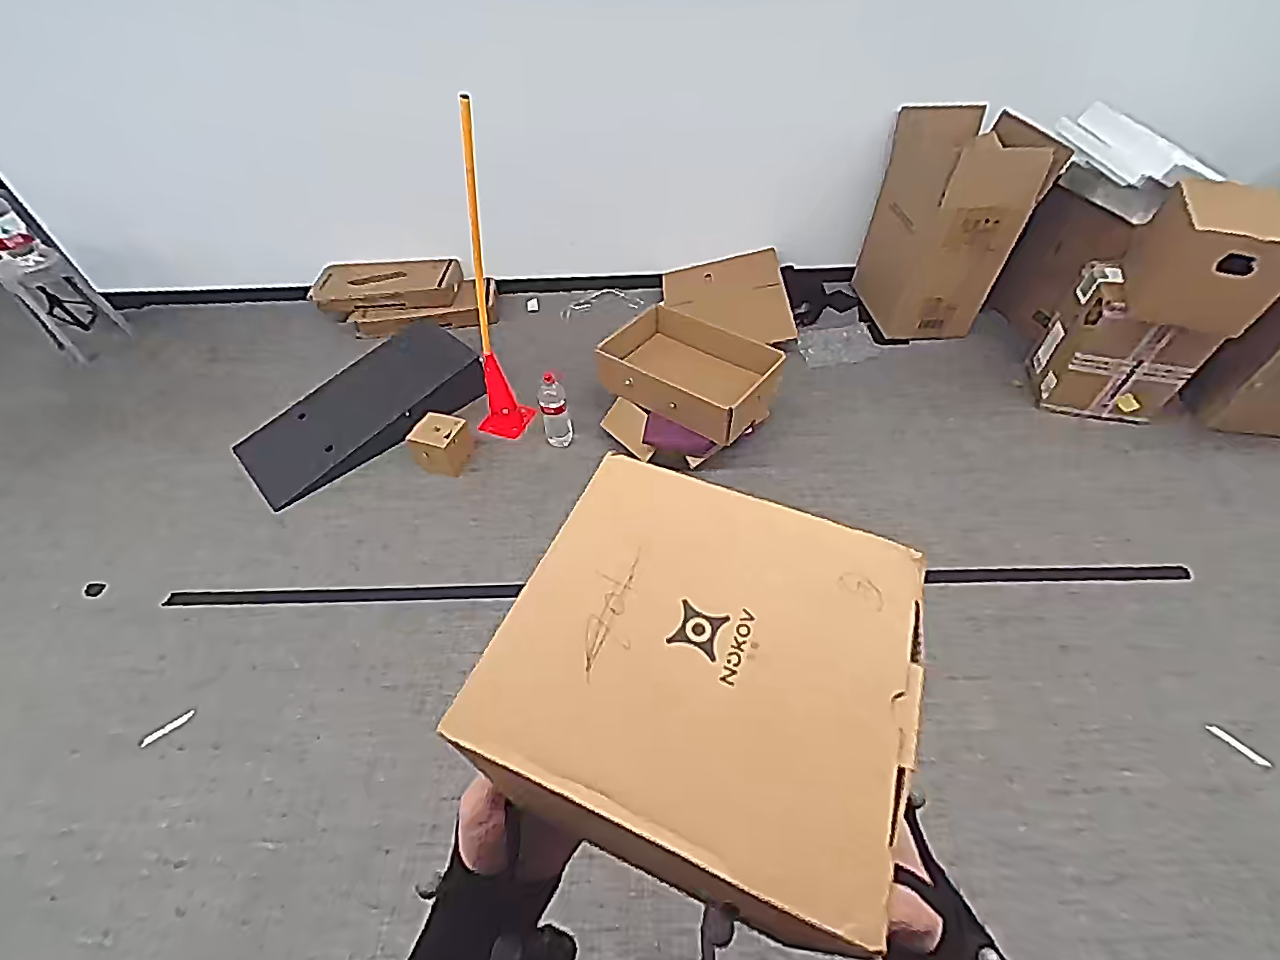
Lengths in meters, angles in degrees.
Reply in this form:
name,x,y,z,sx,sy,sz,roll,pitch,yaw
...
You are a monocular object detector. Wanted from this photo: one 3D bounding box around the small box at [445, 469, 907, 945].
name,x,y,z,sx,sy,sz,roll,pitch,yaw
small box,0.028,0.127,0.314,0.179,0.176,0.168,17,52,15
